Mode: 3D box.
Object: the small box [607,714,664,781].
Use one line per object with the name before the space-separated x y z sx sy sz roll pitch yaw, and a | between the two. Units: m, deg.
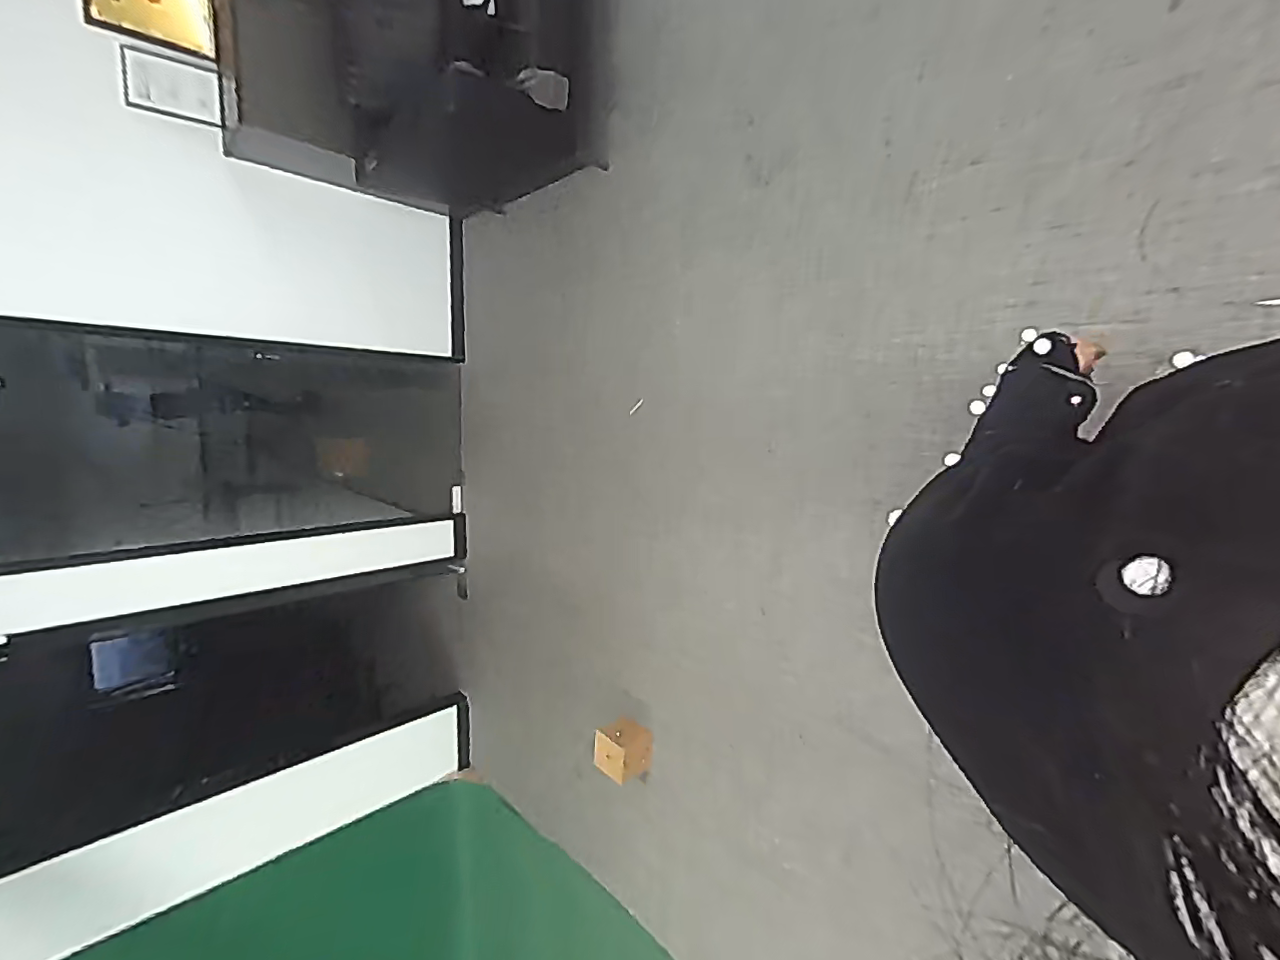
small box | -0.020 1.121 2.289 0.179 0.176 0.168 13 104 44
